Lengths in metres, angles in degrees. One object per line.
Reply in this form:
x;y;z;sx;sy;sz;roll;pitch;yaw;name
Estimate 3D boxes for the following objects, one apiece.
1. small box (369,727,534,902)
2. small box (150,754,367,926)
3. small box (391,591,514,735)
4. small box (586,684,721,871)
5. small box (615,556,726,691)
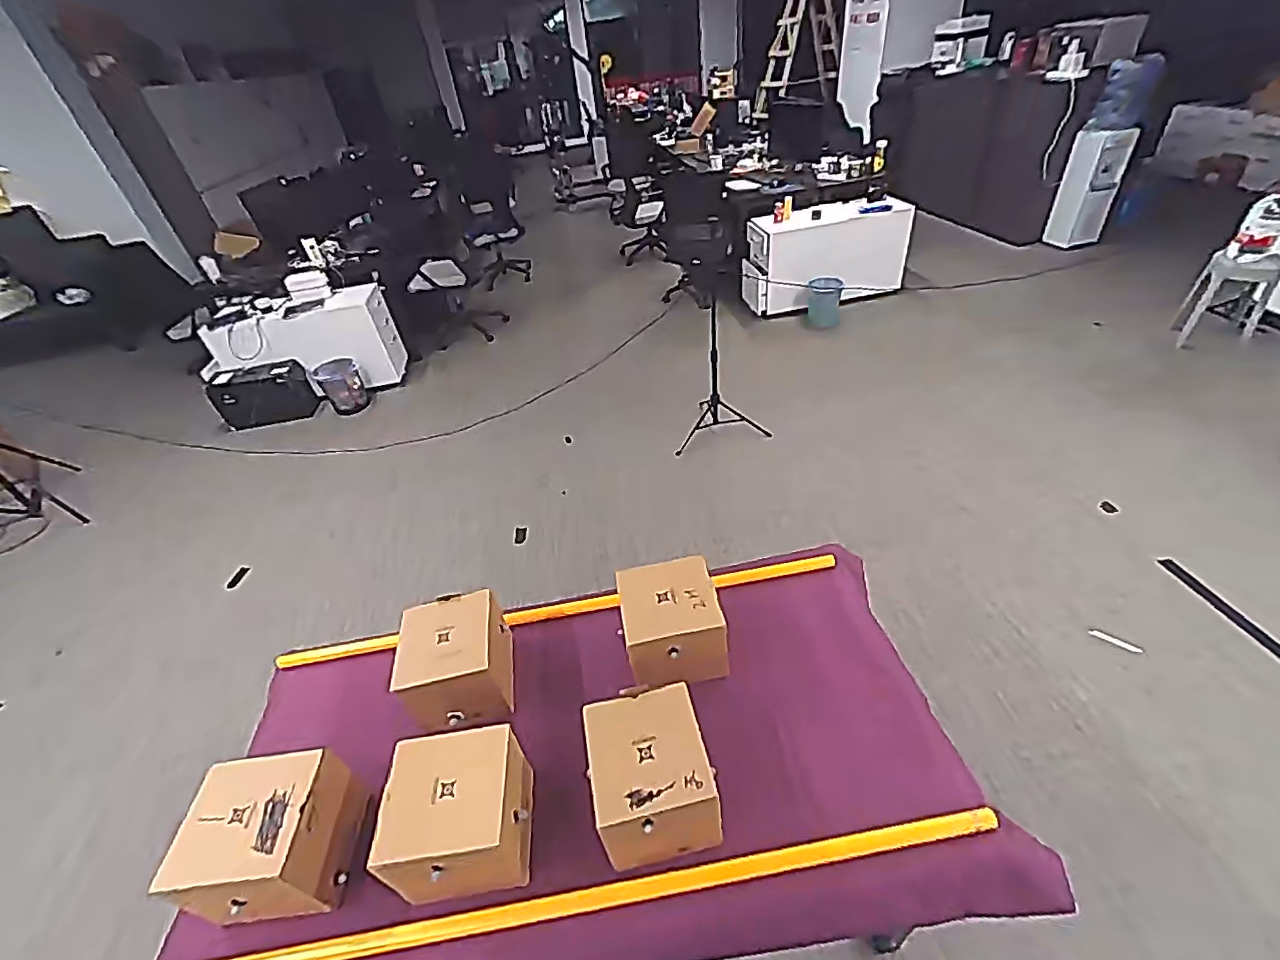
-0.262;0.498;0.805;0.179;0.176;0.168;-10;39;0;small box
-0.542;0.535;0.805;0.179;0.176;0.168;-8;39;1;small box
-0.338;0.341;1.012;0.168;0.176;0.179;-13;40;-4;small box
0.019;0.446;0.816;0.168;0.176;0.179;-12;37;-4;small box
0.057;0.273;1.020;0.179;0.176;0.168;-11;40;-3;small box
